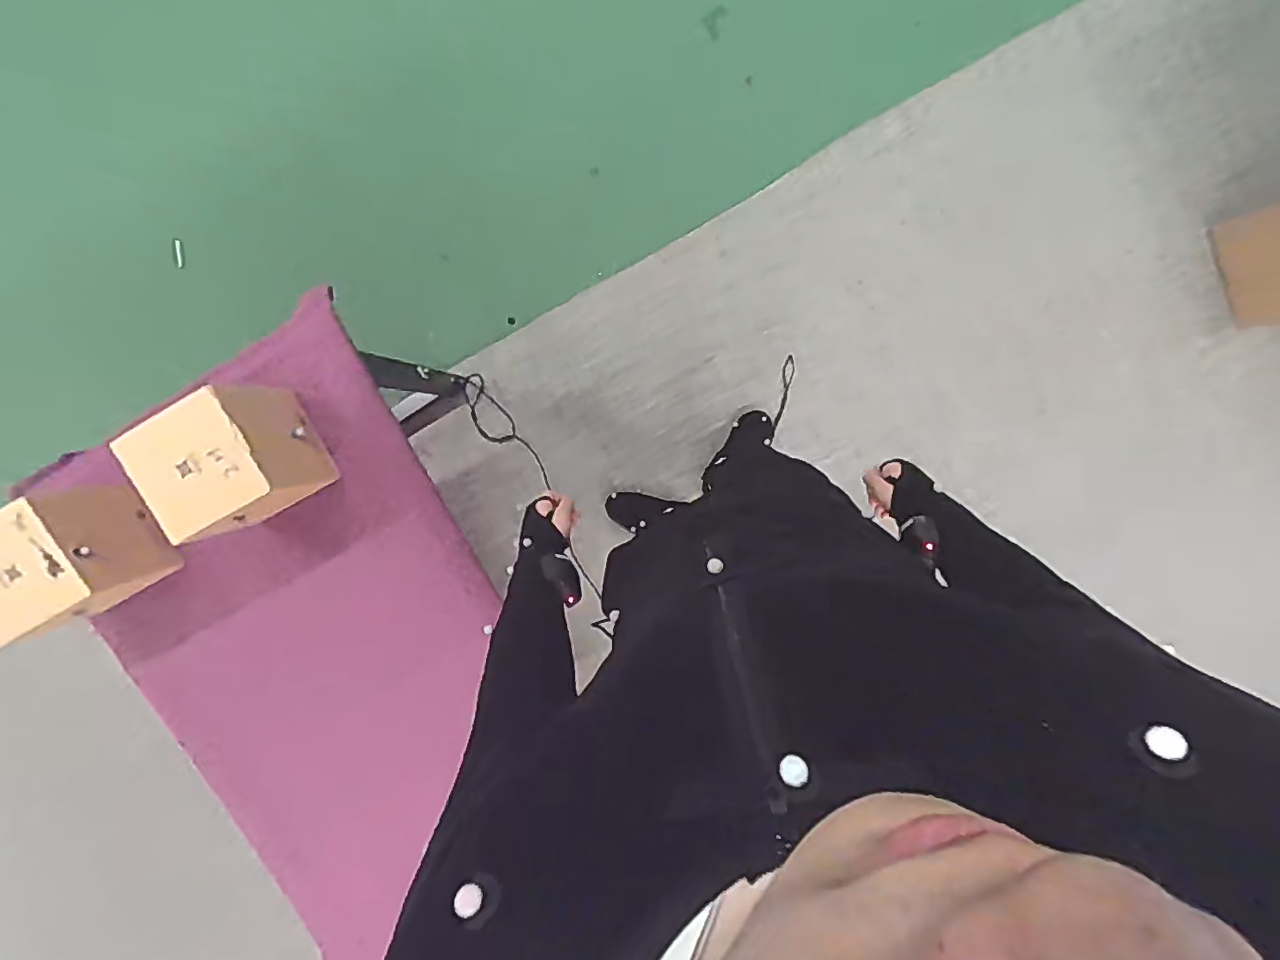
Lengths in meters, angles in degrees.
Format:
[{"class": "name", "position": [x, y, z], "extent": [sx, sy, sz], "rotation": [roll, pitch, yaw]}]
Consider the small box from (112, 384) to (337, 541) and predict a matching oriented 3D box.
[{"class": "small box", "position": [-0.615, -0.031, 0.825], "extent": [0.179, 0.176, 0.168], "rotation": [-27, 96, 5]}]

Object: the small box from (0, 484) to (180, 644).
[{"class": "small box", "position": [-0.896, 0.123, 0.848], "extent": [0.179, 0.176, 0.168], "rotation": [-29, 96, 3]}]
